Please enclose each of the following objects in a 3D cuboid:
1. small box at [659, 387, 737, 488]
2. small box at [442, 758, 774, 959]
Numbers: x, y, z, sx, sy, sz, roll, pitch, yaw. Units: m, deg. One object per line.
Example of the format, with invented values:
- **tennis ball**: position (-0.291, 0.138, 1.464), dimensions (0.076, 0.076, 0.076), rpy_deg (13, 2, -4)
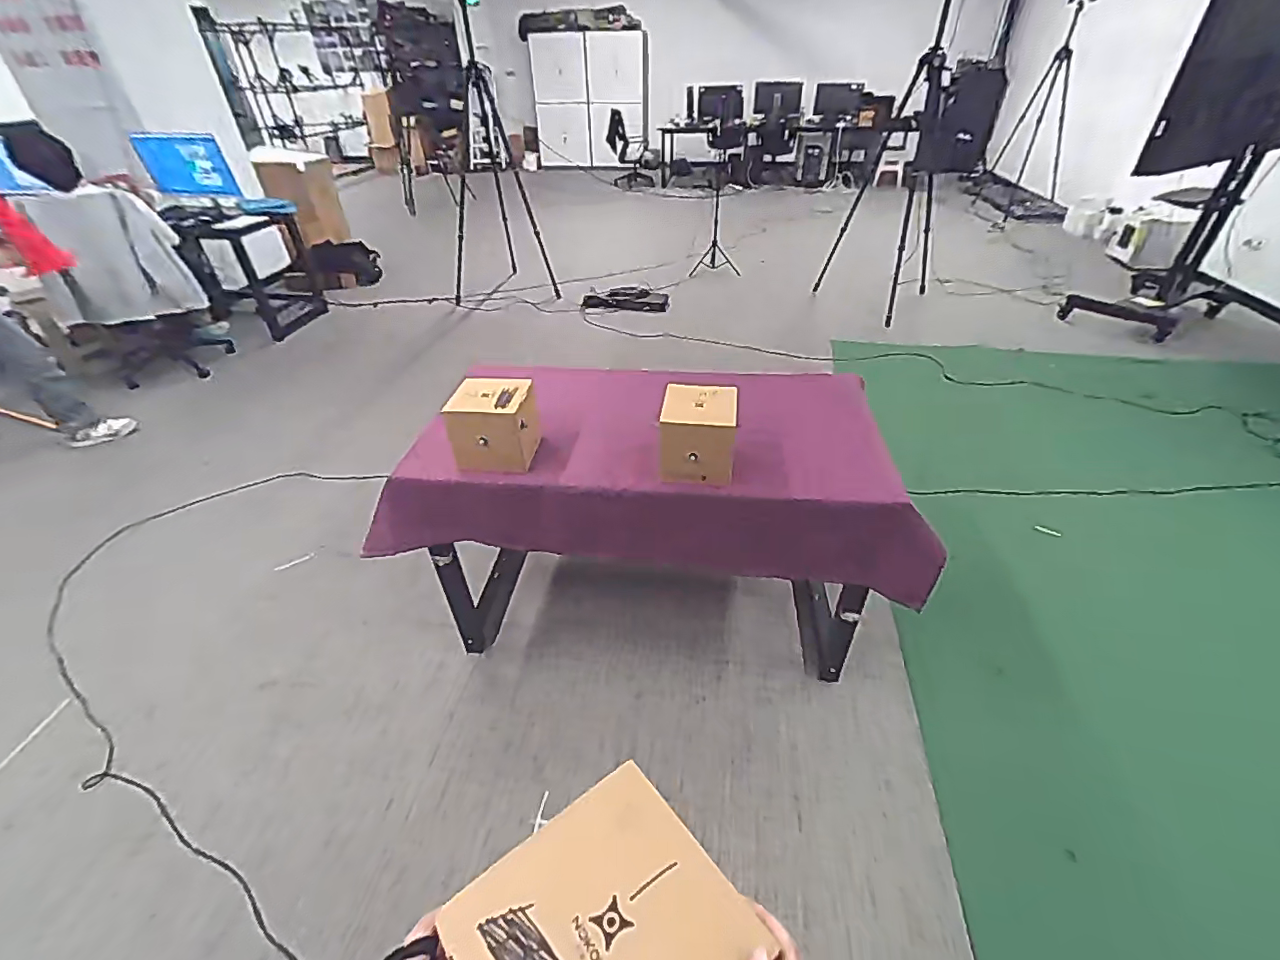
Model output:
- **small box**: position (0.137, -0.099, 1.269), dimensions (0.168, 0.176, 0.179), rpy_deg (5, 38, 8)
- **small box**: position (-0.019, 0.368, 0.410), dimensions (0.179, 0.176, 0.168), rpy_deg (-25, 38, -29)
